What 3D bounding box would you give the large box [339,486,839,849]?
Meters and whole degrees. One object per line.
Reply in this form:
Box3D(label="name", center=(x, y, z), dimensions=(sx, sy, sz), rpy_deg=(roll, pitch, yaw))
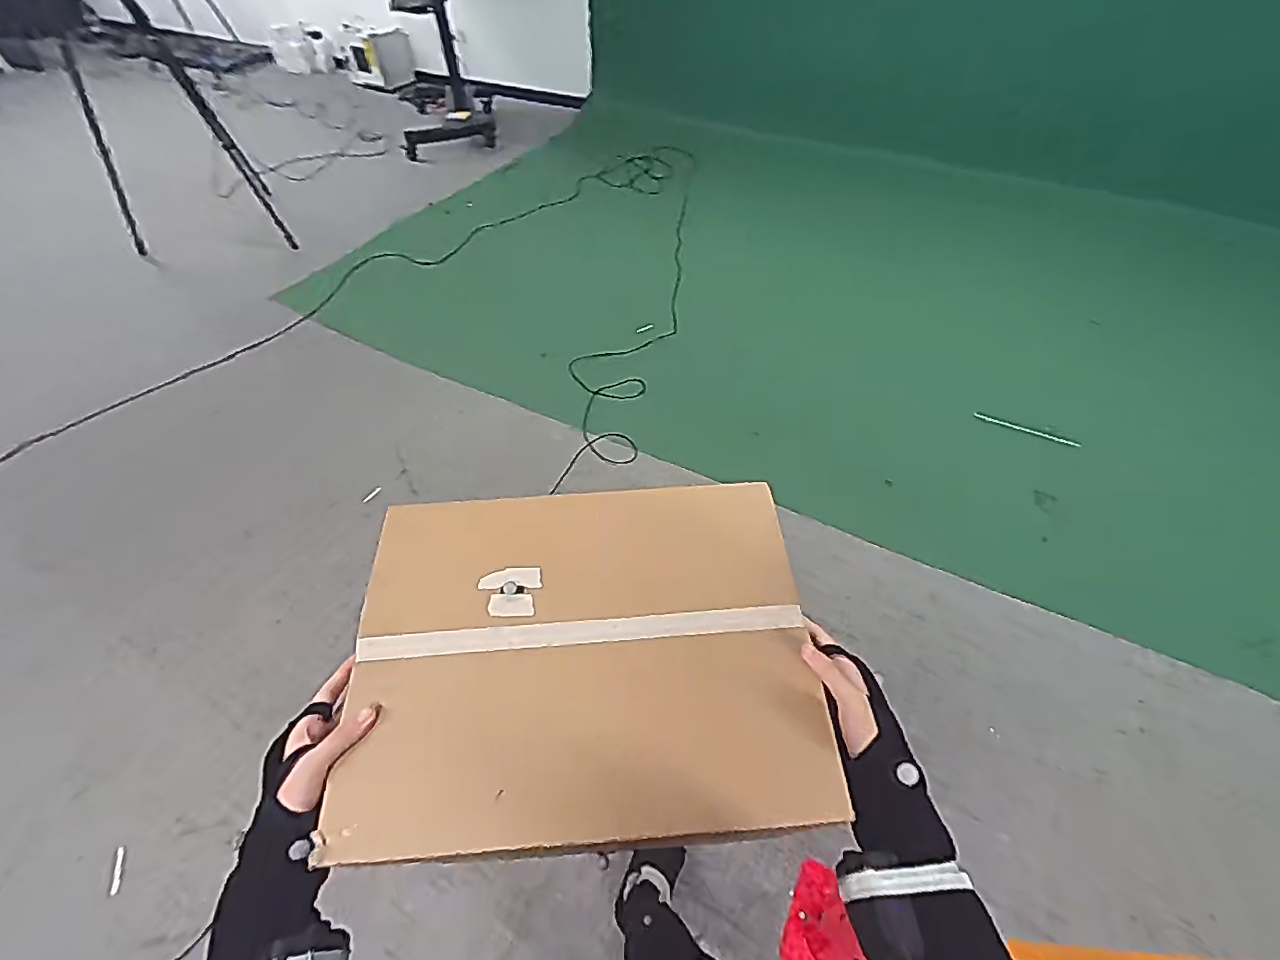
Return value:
Box3D(label="large box", center=(-0.042, 0.228, 0.630), dimensions=(0.408, 0.320, 0.320), rpy_deg=(-3, 55, 0))
